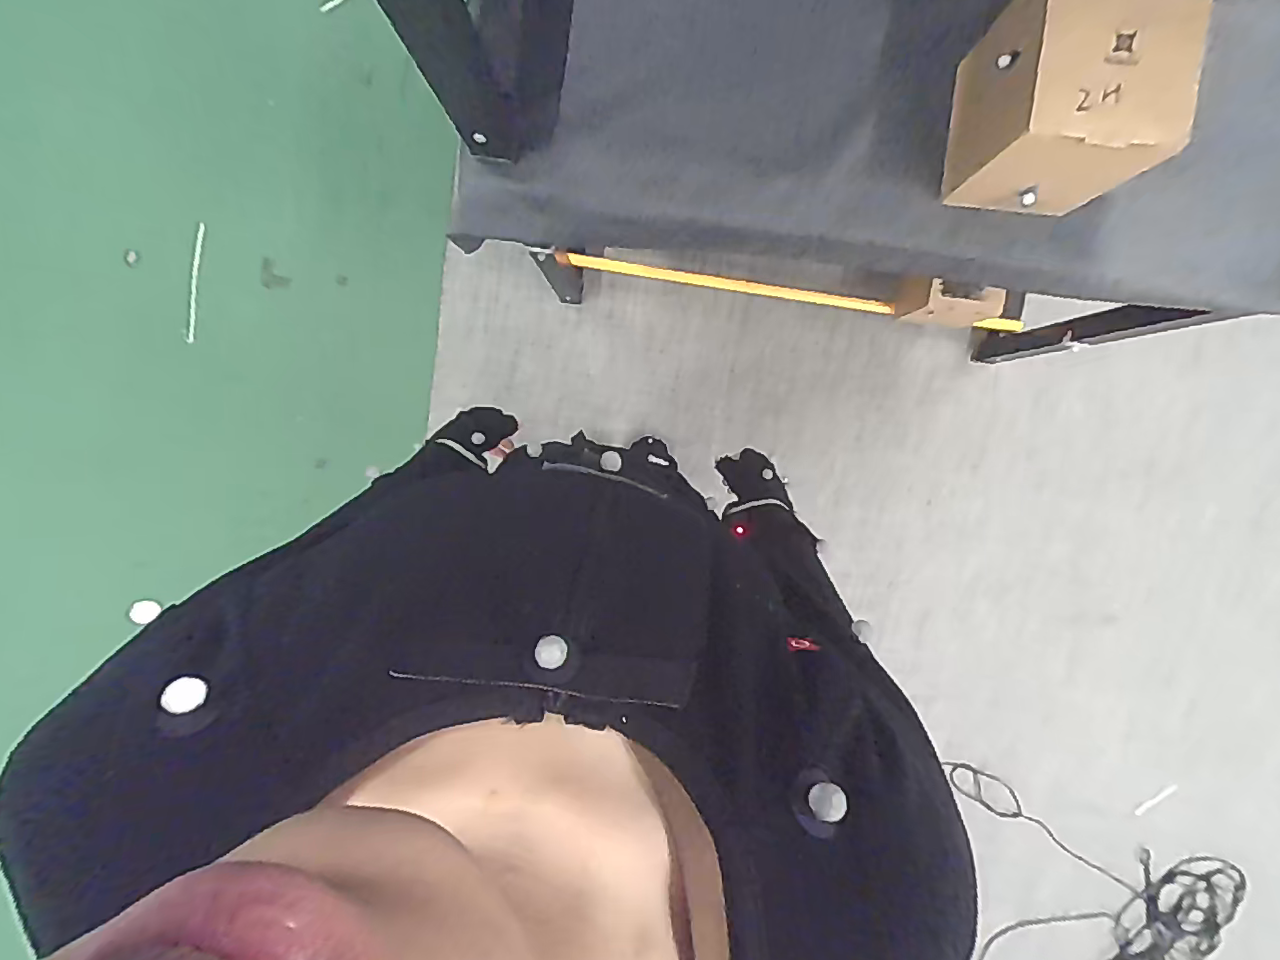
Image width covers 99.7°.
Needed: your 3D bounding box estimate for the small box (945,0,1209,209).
[{"bbox_3d":[0.487,-0.447,0.629,0.168,0.176,0.179,6,94,0],"label":"small box"}]
